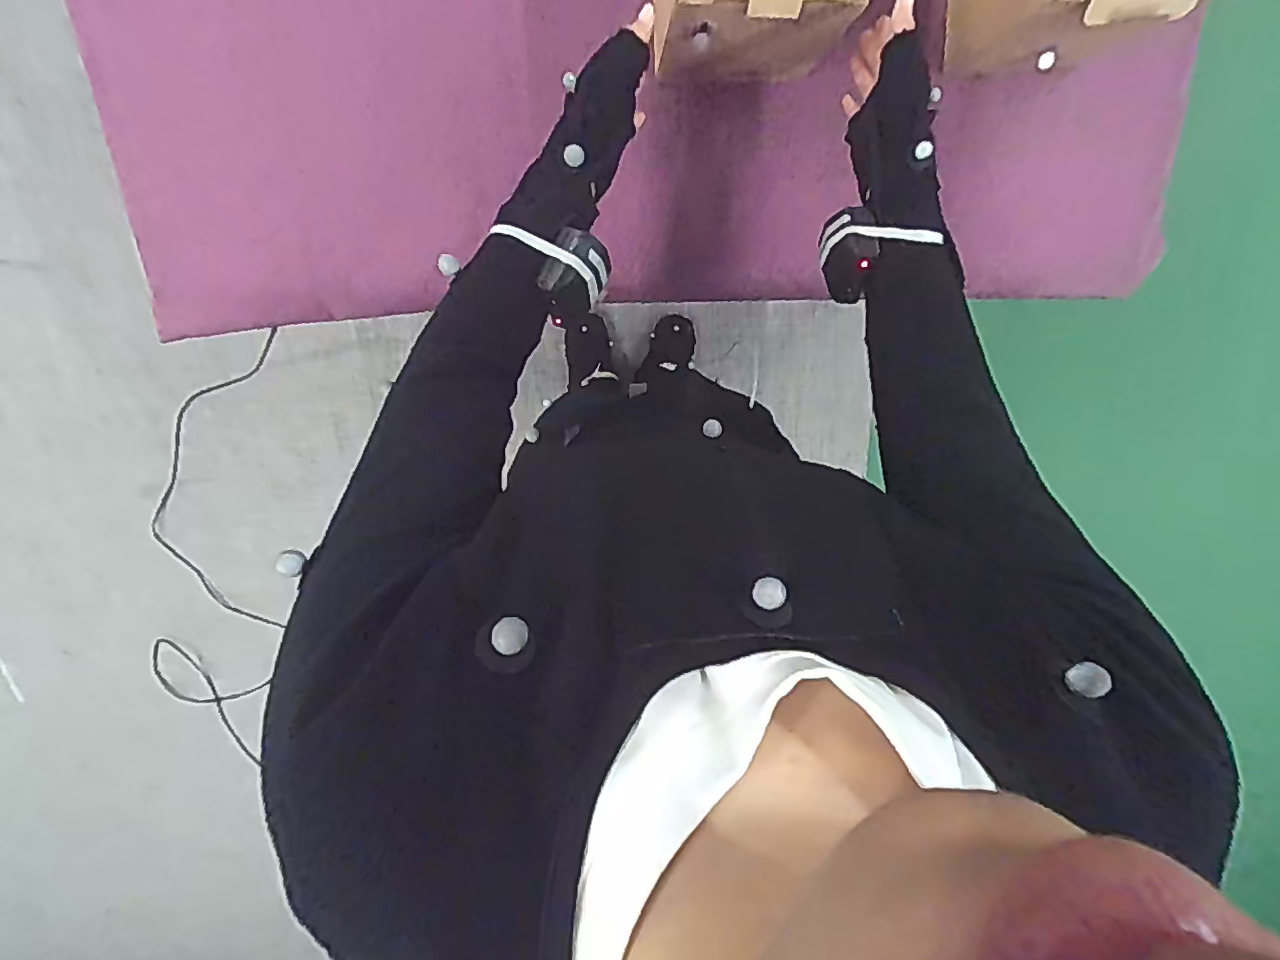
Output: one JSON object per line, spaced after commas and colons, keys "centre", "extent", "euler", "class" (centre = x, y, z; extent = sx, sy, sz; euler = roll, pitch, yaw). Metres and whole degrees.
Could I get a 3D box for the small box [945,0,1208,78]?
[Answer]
{"centre": [0.421, -0.523, 0.515], "extent": [0.168, 0.176, 0.179], "euler": [-6, 108, -2], "class": "small box"}
